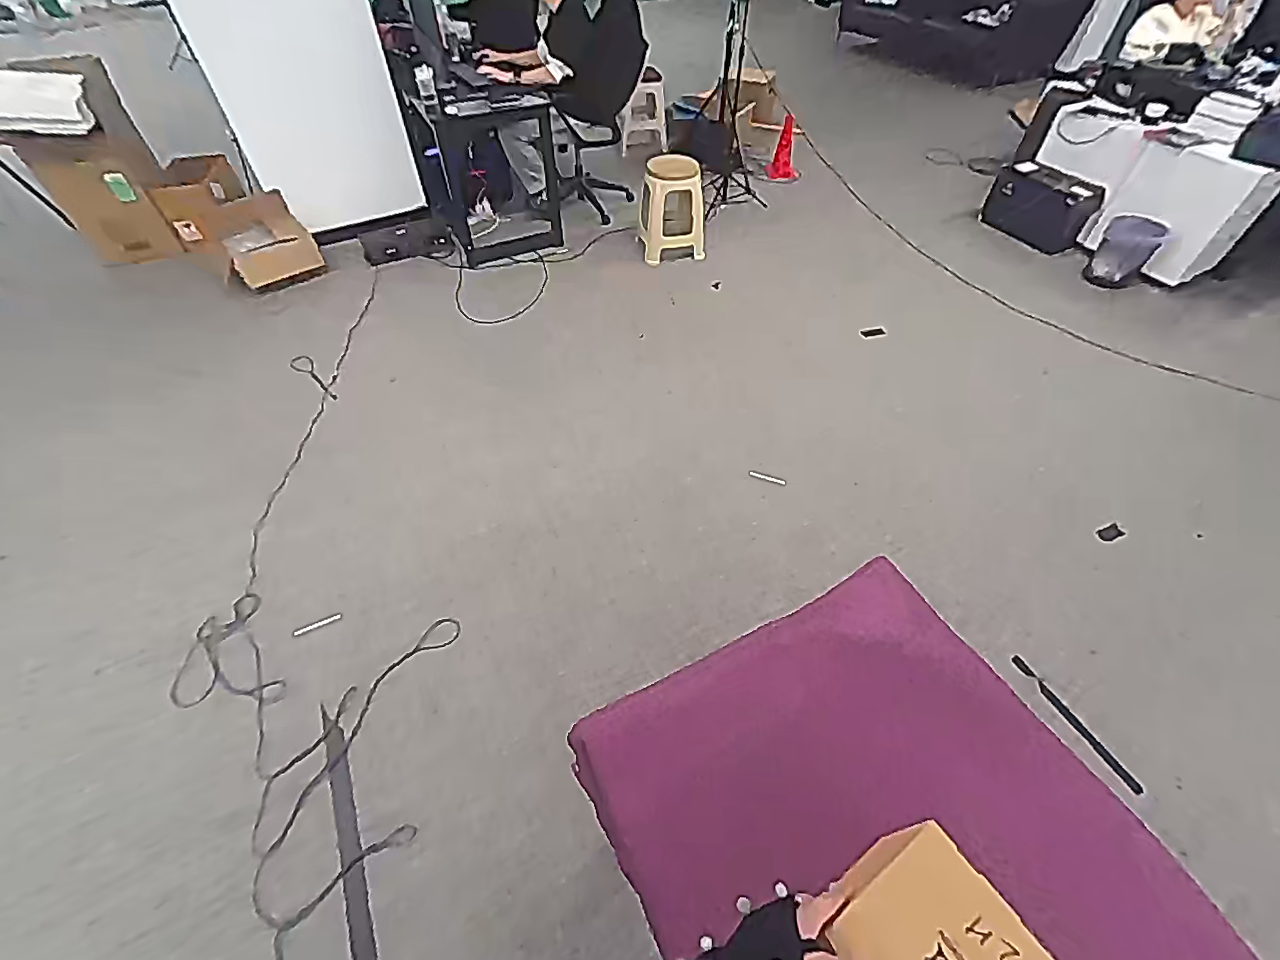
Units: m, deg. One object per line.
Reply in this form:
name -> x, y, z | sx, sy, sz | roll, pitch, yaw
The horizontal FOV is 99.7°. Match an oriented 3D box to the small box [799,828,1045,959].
small box -> 0.293, 0.519, 0.580 | 0.179, 0.176, 0.168 | -27, 56, -21

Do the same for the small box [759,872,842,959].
small box -> 0.357, 0.911, 1.057 | 0.168, 0.176, 0.179 | -23, 57, -19
